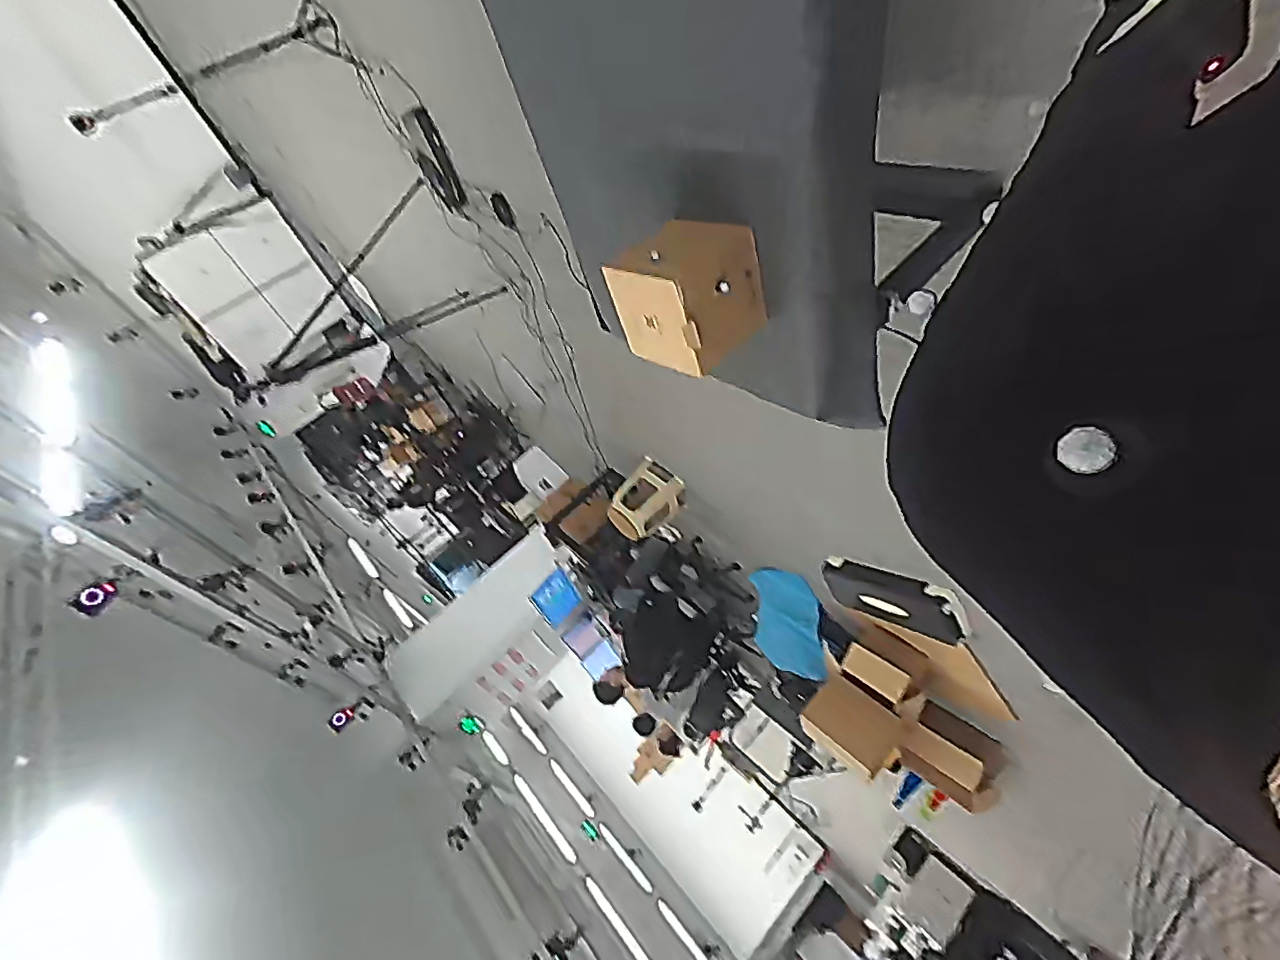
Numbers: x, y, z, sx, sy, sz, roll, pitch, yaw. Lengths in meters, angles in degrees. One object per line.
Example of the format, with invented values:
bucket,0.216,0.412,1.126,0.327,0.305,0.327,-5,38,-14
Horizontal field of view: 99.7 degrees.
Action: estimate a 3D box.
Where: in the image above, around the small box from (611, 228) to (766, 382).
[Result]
small box,0.088,-0.290,0.879,0.179,0.176,0.168,32,154,43
